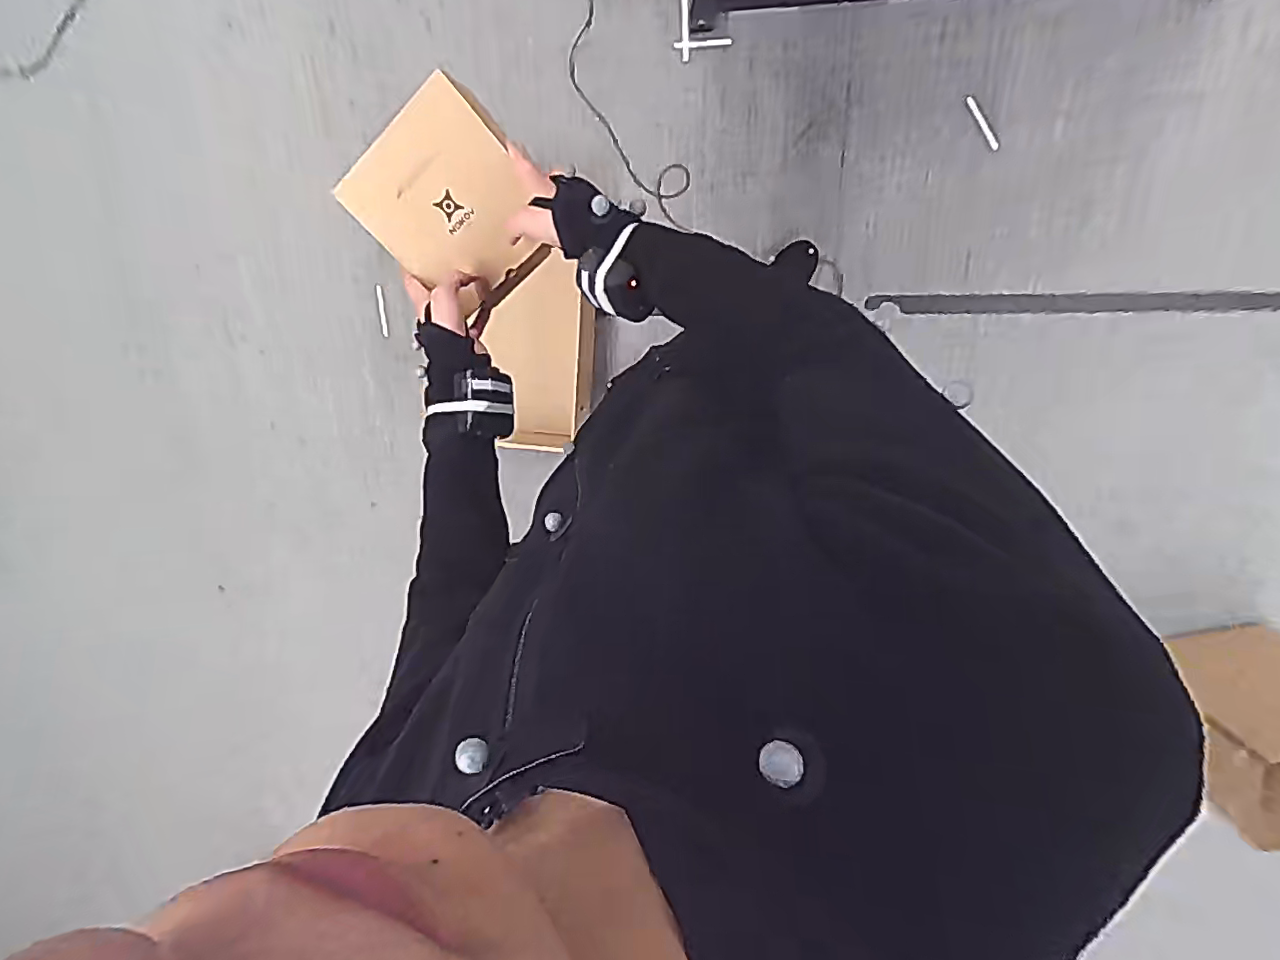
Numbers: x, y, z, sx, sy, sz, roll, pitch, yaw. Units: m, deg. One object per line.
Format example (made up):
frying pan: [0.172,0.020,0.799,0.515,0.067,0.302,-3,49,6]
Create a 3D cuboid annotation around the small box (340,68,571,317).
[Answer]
small box: [-0.195,-0.327,0.629,0.168,0.176,0.179,-37,117,14]
